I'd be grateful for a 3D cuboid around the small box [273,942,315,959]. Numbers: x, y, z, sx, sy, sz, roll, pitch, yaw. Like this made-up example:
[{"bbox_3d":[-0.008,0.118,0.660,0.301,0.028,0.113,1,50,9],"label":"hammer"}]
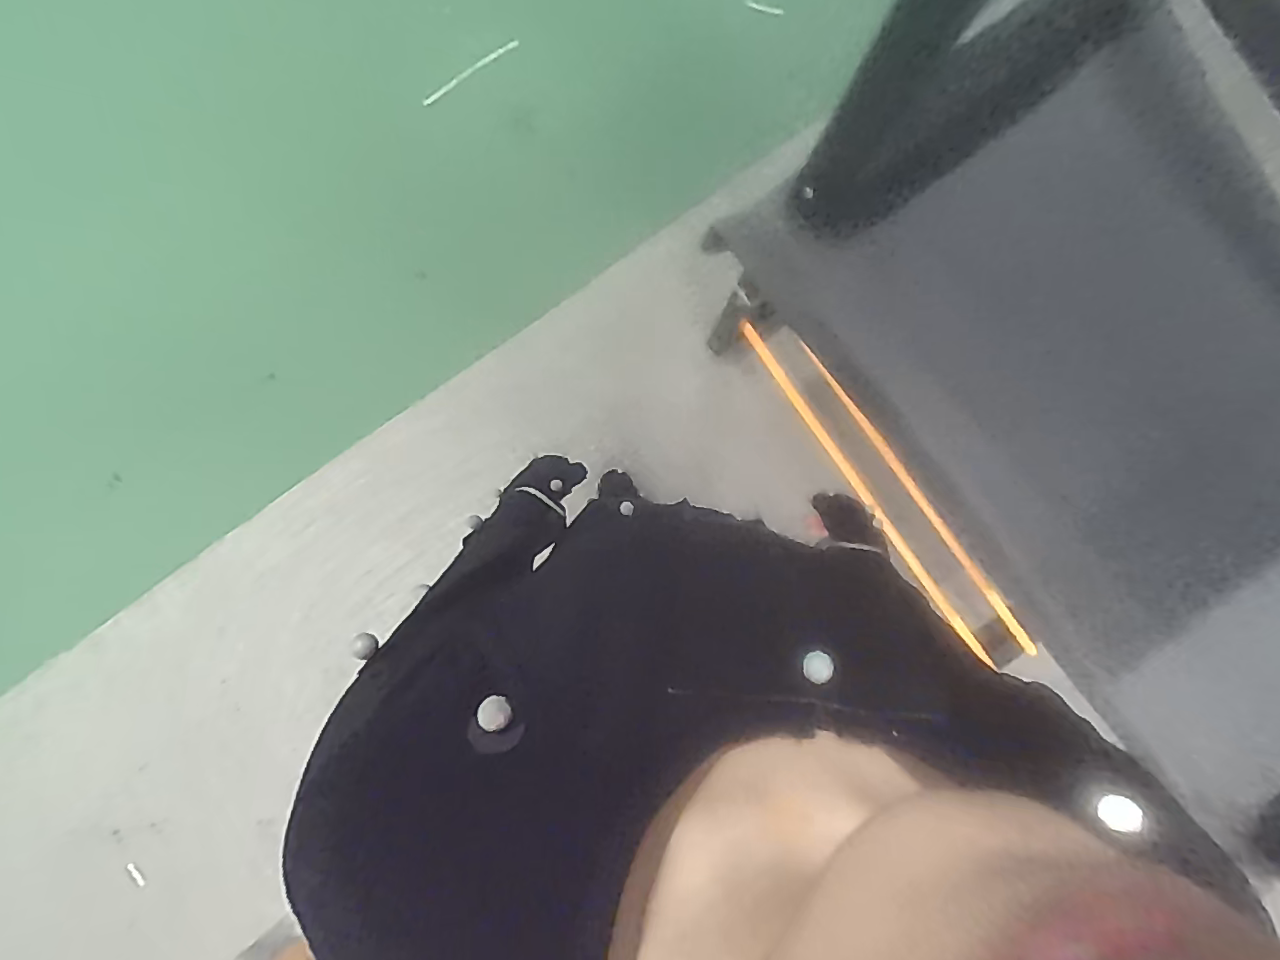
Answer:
[{"bbox_3d":[-0.941,1.364,1.386,0.179,0.176,0.168,-41,91,-2],"label":"small box"}]
